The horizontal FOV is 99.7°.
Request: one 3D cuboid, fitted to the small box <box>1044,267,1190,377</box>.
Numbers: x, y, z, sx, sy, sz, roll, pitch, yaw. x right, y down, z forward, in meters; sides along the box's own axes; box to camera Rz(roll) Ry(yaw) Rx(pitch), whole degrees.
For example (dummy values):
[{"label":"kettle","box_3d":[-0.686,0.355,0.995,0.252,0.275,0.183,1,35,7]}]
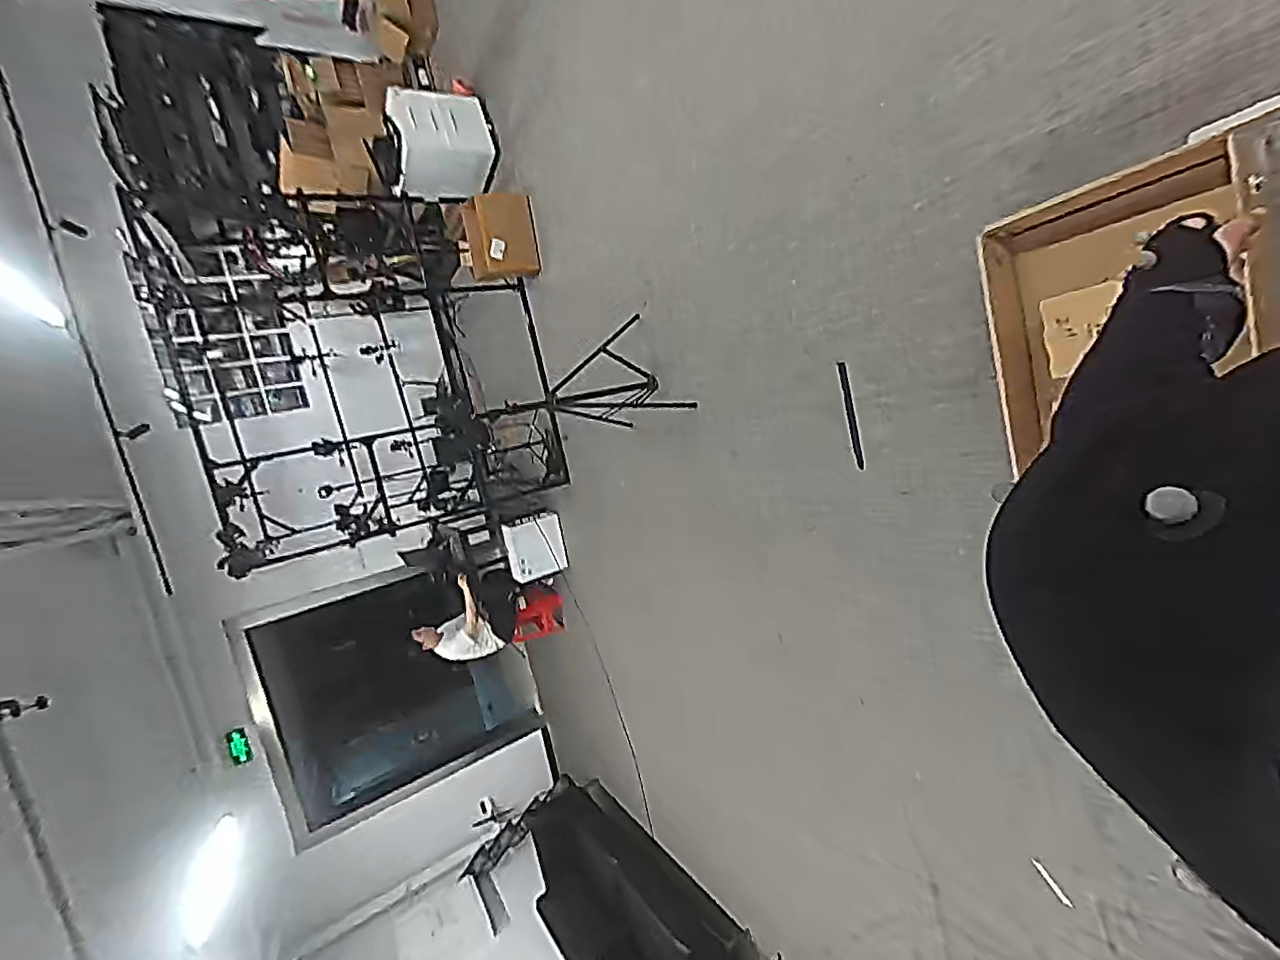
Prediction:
[{"label":"small box","box_3d":[0.953,-0.313,1.076,0.179,0.176,0.168,-5,100,59]}]
